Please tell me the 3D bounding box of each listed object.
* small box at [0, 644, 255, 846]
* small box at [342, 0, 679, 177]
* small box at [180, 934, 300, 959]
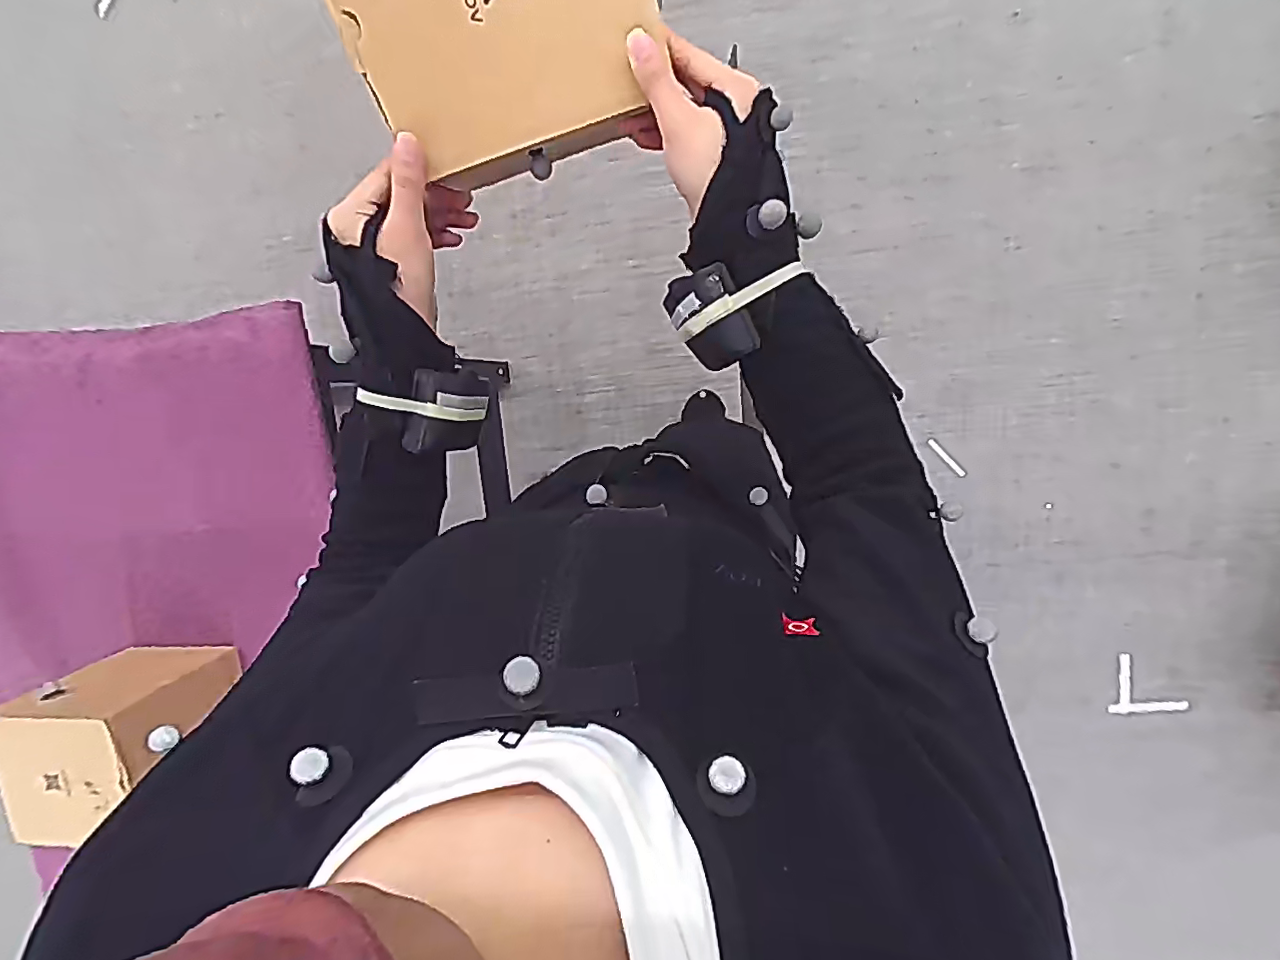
[{"bbox_3d":[-0.644,0.322,0.688,0.179,0.176,0.168,-3,100,8],"label":"small box"},{"bbox_3d":[-0.086,-0.320,0.365,0.179,0.176,0.168,-16,117,4],"label":"small box"},{"bbox_3d":[-0.609,0.793,0.763,0.179,0.176,0.168,1,99,7],"label":"small box"}]
